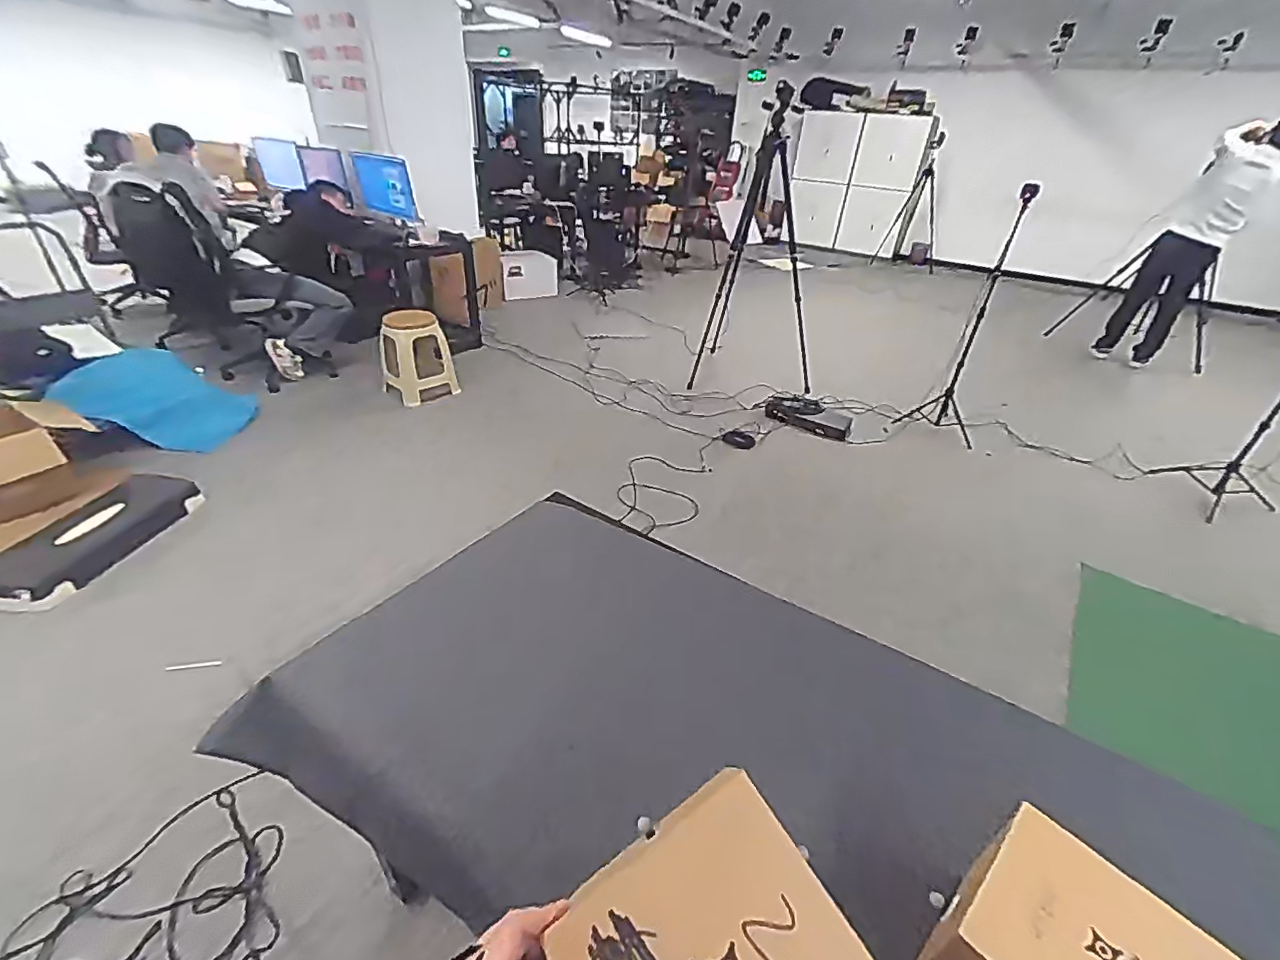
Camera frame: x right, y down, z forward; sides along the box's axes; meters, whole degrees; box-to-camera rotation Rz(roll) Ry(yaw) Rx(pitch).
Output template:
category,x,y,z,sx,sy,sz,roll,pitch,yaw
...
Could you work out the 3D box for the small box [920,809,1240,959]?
category,x,y,z,sx,sy,sz,roll,pitch,yaw
small box,0.368,0.448,0.469,0.168,0.176,0.179,-22,39,-36
